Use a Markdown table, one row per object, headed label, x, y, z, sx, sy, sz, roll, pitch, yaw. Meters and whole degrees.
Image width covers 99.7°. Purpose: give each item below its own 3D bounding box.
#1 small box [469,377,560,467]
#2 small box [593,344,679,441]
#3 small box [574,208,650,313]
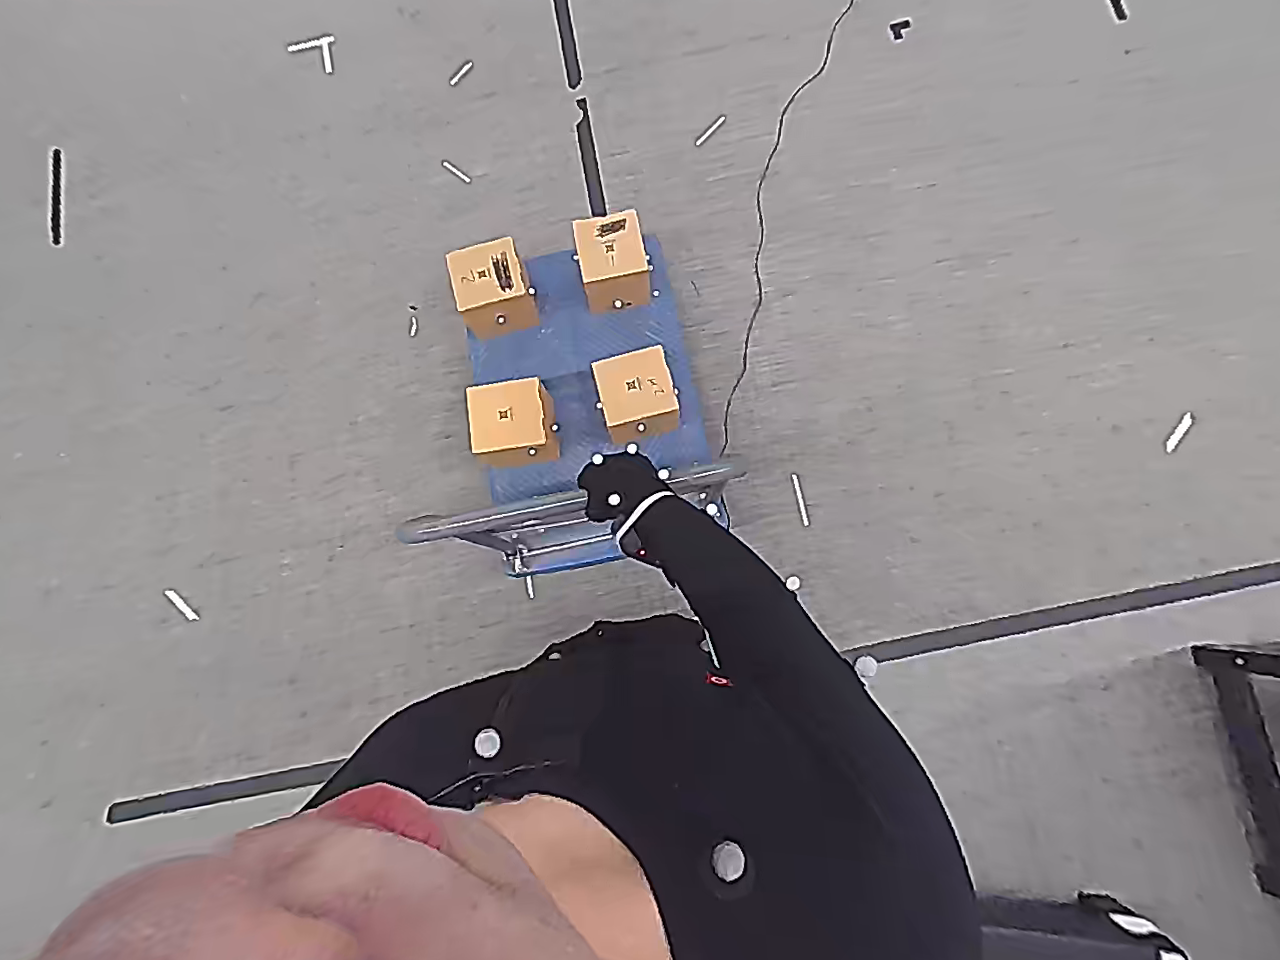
| label | x | y | z | sx | sy | sz | roll | pitch | yaw |
| --- | --- | --- | --- | --- | --- | --- | --- | --- | --- |
| small box | -0.306 | -0.137 | 1.343 | 0.179 | 0.176 | 0.168 | -9 | 78 | -1 |
| small box | -0.004 | -0.209 | 1.341 | 0.179 | 0.176 | 0.168 | -15 | 79 | 0 |
| small box | -0.070 | -0.568 | 1.415 | 0.168 | 0.176 | 0.179 | -12 | 80 | 1 |
